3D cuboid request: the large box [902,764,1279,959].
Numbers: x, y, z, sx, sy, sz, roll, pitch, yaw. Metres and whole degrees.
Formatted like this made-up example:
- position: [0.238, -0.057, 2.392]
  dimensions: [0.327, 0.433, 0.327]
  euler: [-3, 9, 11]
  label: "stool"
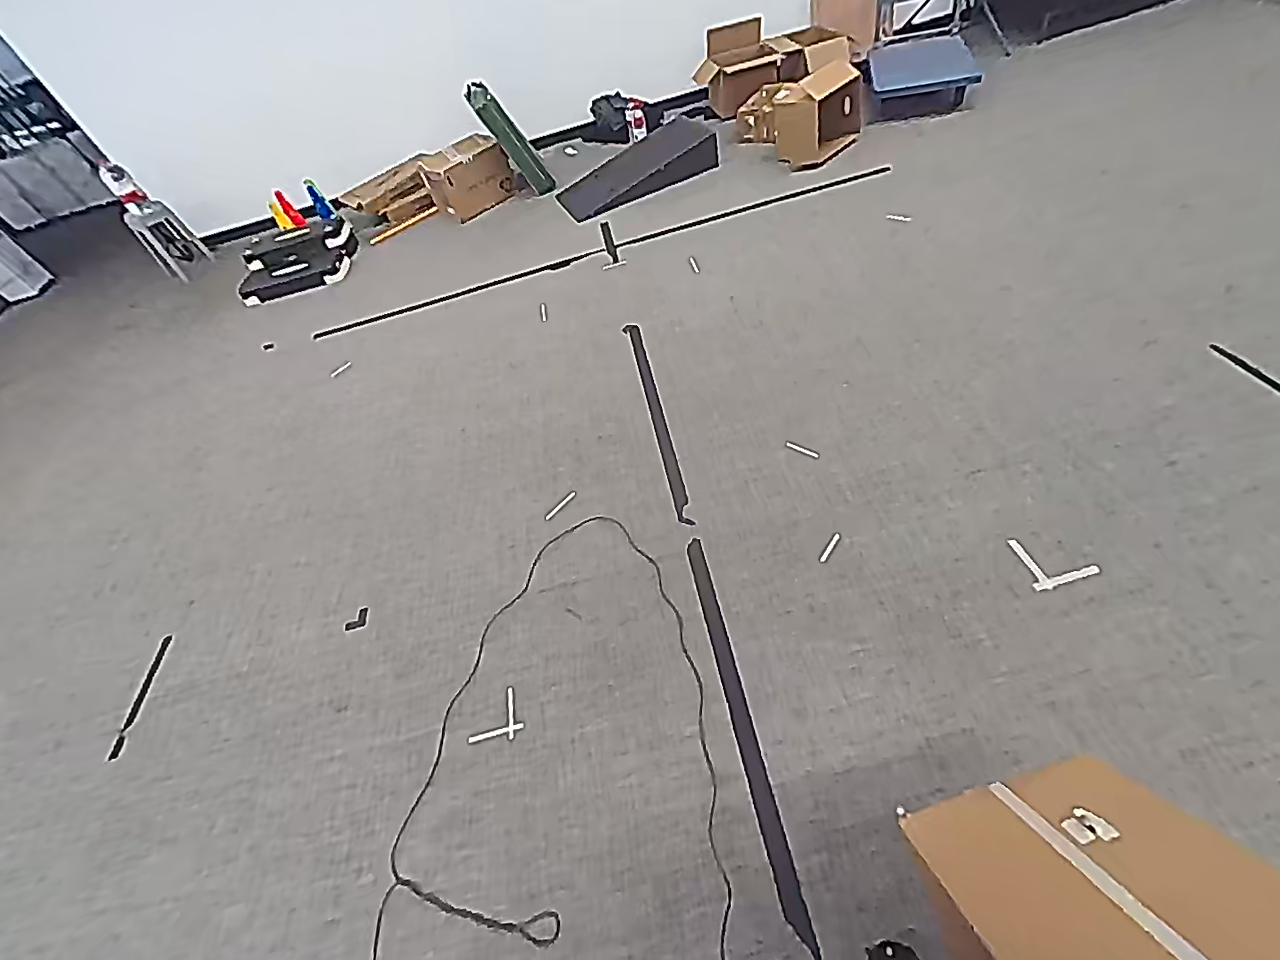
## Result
- position: [0.595, 0.623, 0.633]
  dimensions: [0.320, 0.408, 0.320]
  euler: [-19, 87, 1]
  label: "large box"
